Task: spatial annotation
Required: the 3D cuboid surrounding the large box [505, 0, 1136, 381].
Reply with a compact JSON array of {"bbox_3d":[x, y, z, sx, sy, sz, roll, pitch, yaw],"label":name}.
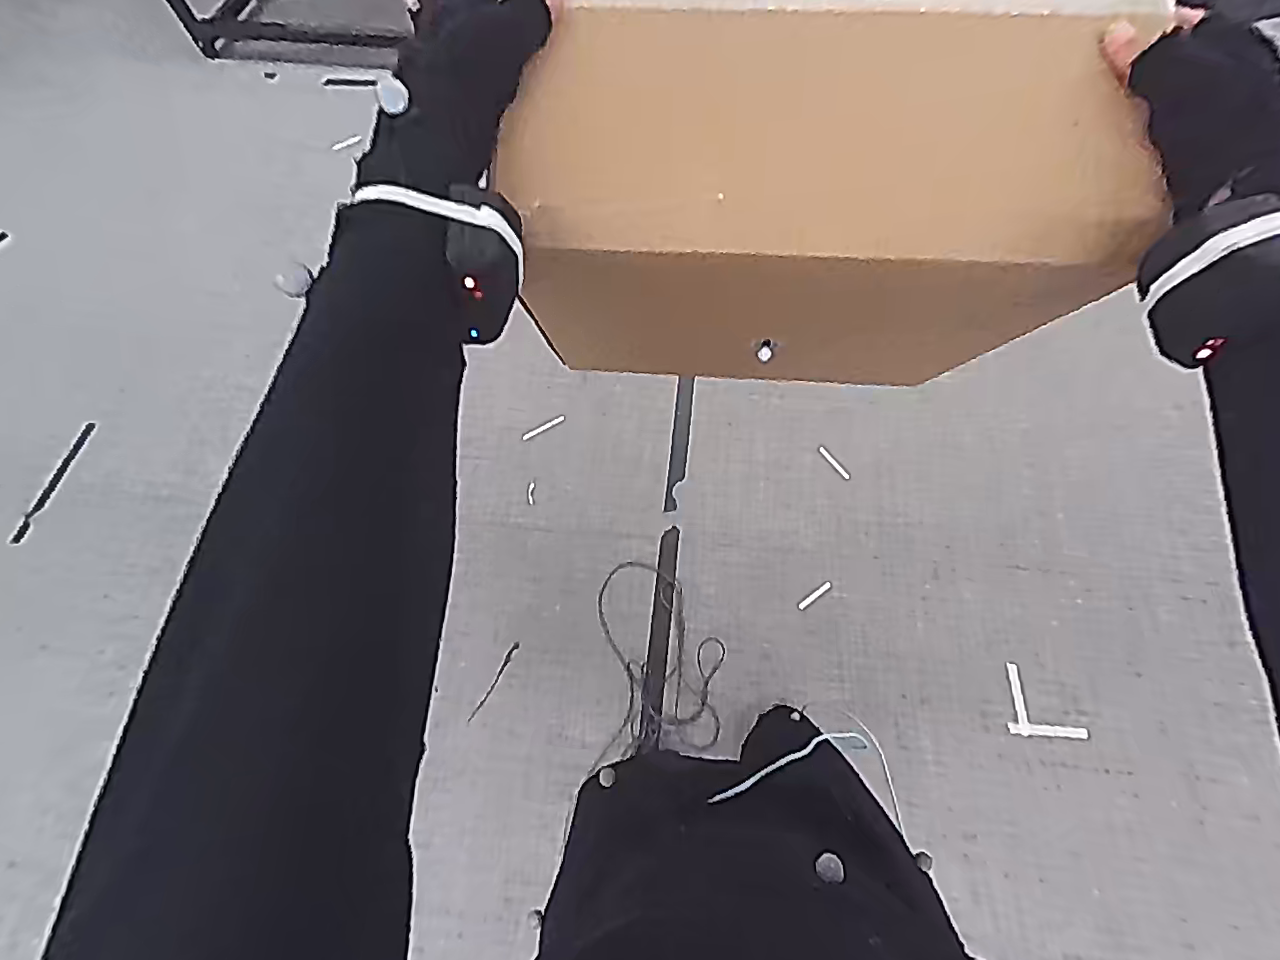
[{"bbox_3d":[0.124,-0.280,0.502,0.408,0.320,0.320,3,86,3],"label":"large box"}]
